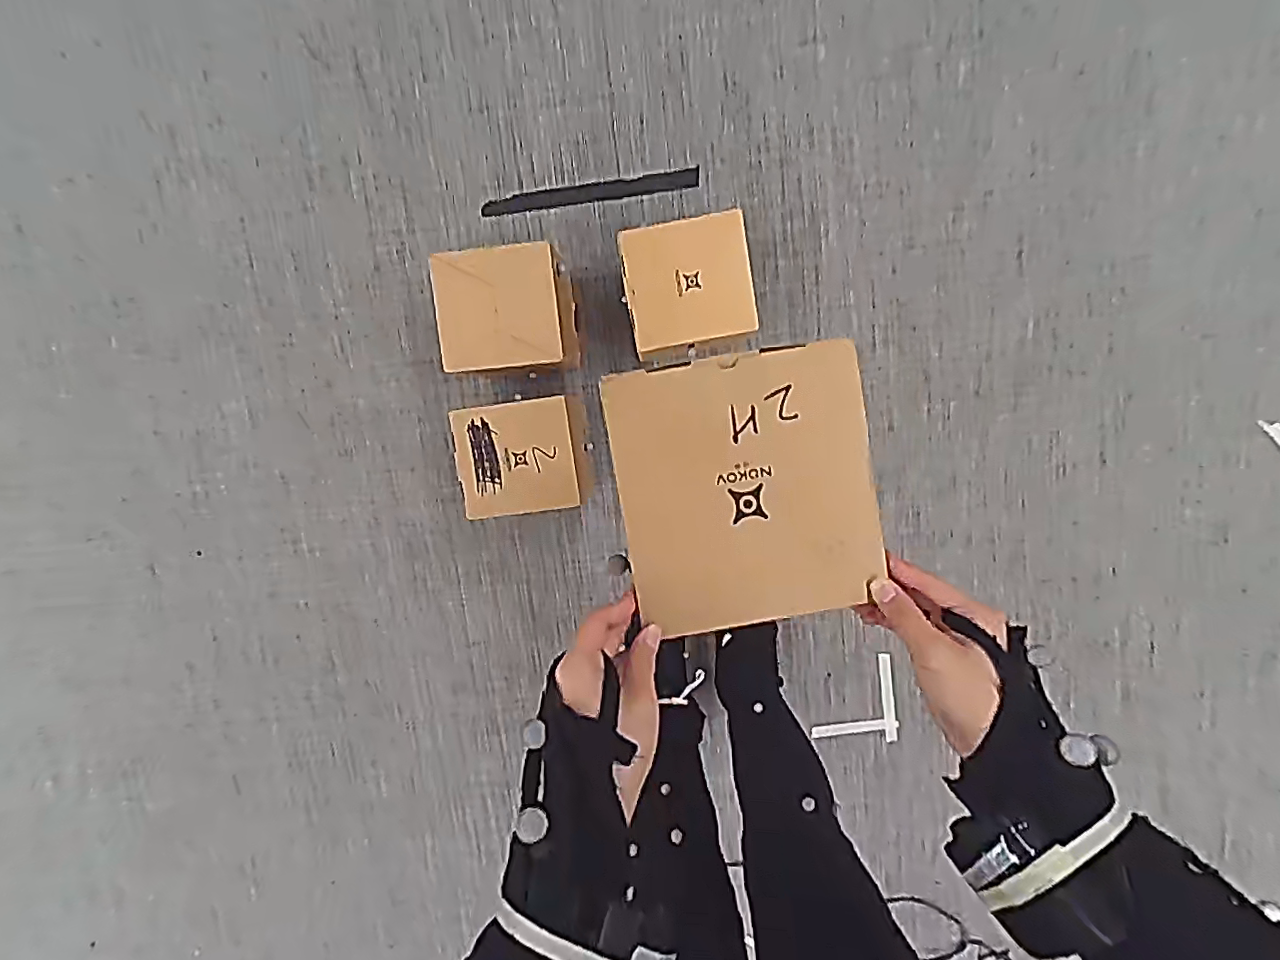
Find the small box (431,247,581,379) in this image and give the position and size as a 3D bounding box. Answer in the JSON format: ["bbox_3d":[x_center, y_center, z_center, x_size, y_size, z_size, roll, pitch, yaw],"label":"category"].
[{"bbox_3d":[-0.197,-0.250,0.840,0.179,0.176,0.168,-5,97,3],"label":"small box"}]

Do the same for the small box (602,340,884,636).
[{"bbox_3d":[0.067,0.001,0.431,0.168,0.176,0.179,-10,93,-1],"label":"small box"}]

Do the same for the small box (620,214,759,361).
[{"bbox_3d":[0.071,-0.283,0.831,0.179,0.176,0.168,-10,98,4],"label":"small box"}]
